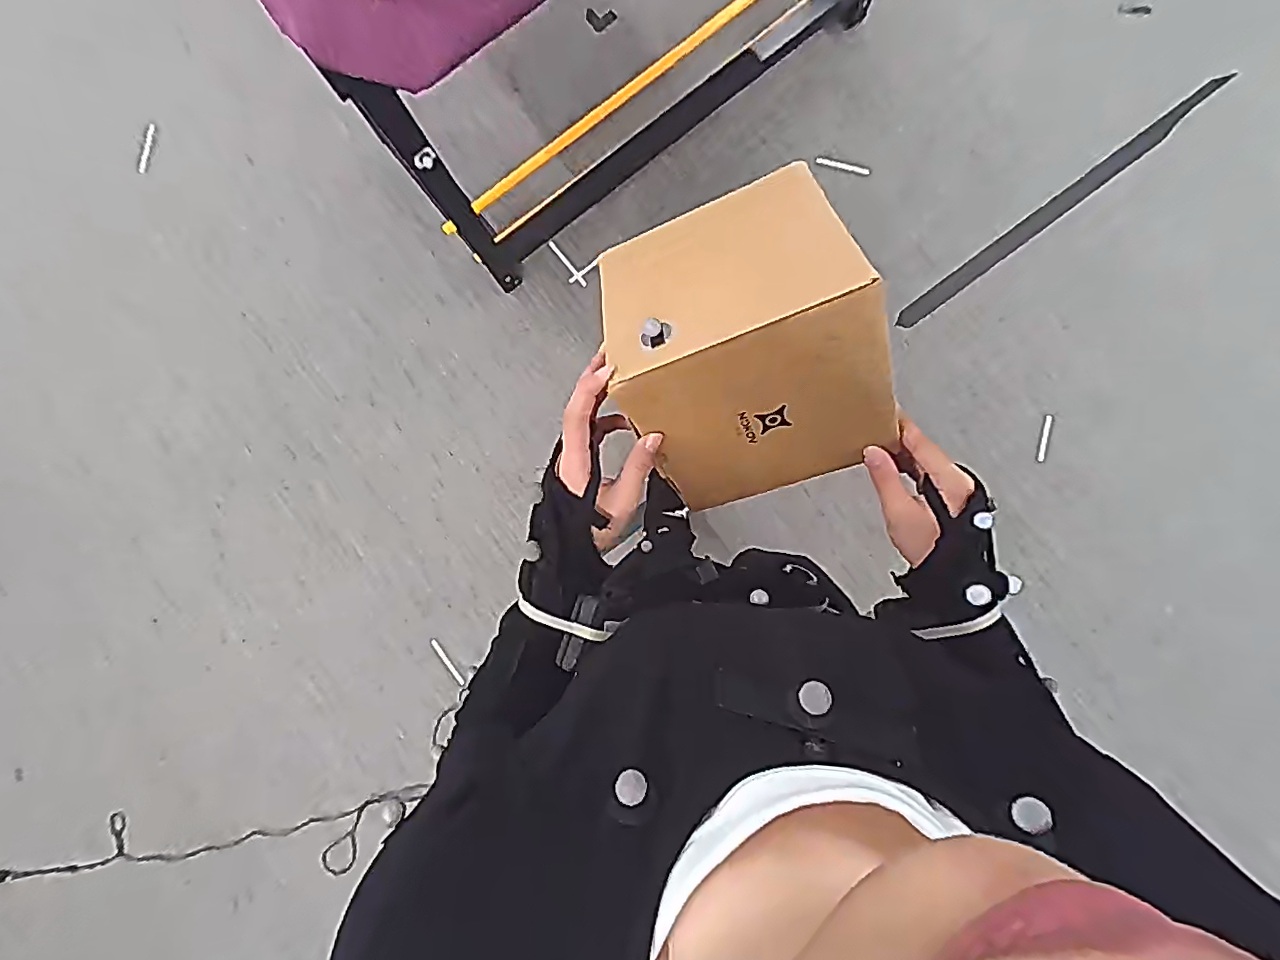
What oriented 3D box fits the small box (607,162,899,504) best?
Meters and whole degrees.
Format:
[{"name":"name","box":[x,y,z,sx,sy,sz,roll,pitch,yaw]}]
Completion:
[{"name":"small box","box":[0.084,-0.111,0.432,0.179,0.168,0.176,-18,50,17]}]
